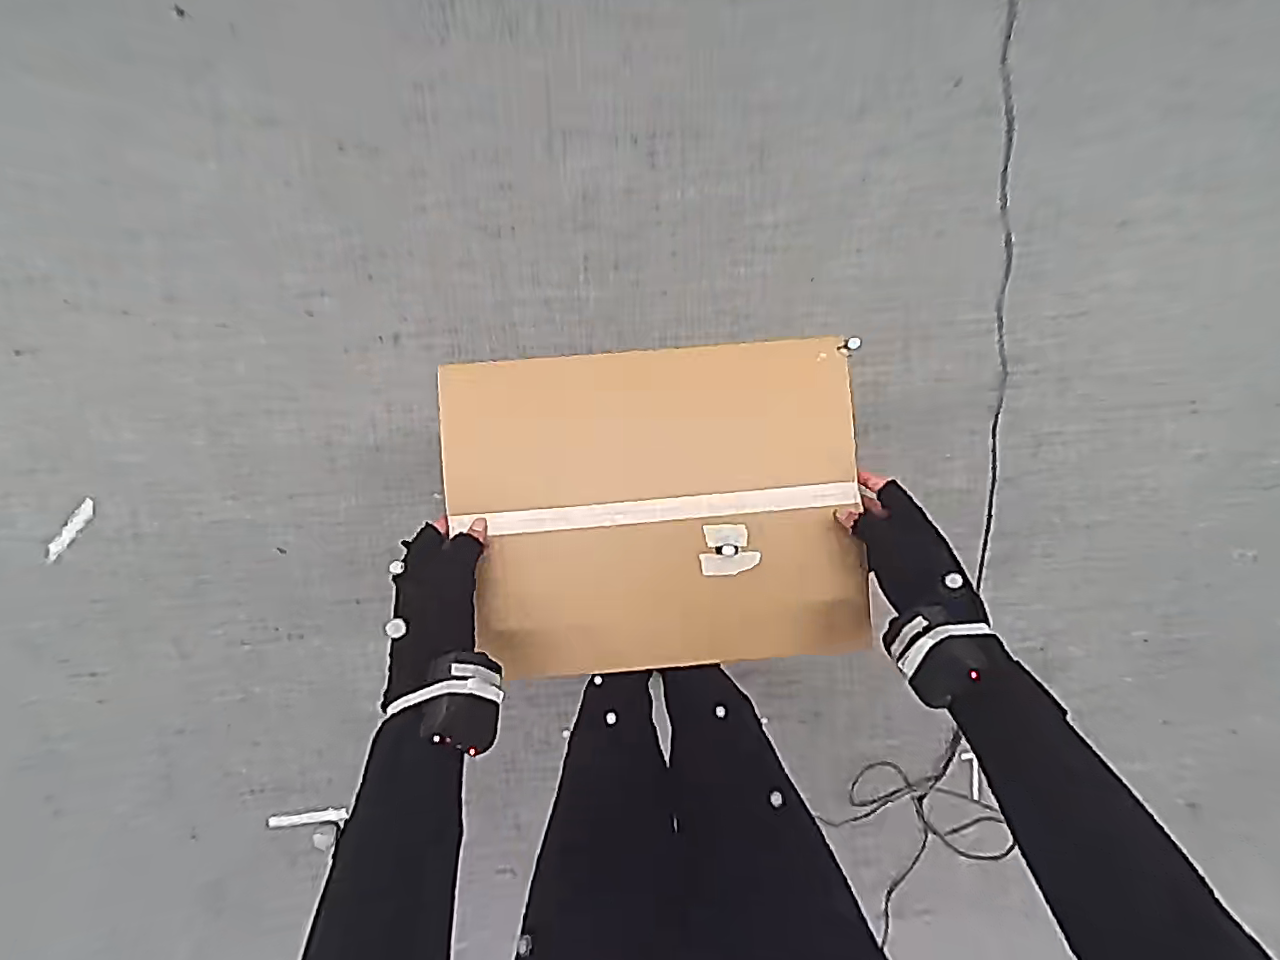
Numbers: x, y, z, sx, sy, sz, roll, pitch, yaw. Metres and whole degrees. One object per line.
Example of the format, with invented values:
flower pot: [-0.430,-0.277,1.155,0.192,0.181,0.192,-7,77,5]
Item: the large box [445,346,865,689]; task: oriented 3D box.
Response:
large box: [0.010,0.039,0.690,0.408,0.320,0.320,-5,90,-2]
